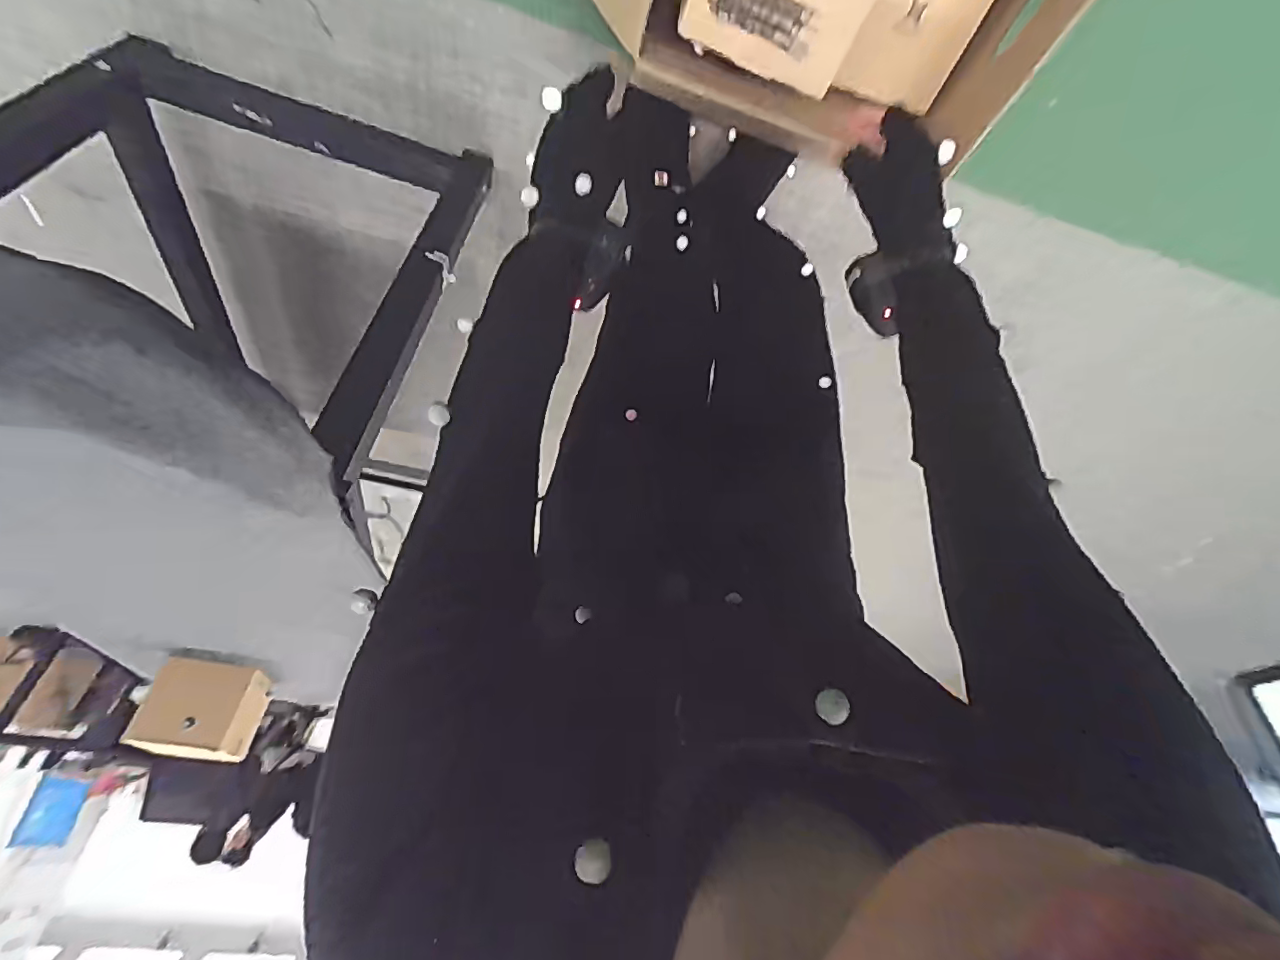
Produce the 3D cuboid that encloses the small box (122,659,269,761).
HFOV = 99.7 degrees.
[{"bbox_3d":[-0.943,0.499,1.174,0.179,0.176,0.168,13,143,-10],"label":"small box"}]
